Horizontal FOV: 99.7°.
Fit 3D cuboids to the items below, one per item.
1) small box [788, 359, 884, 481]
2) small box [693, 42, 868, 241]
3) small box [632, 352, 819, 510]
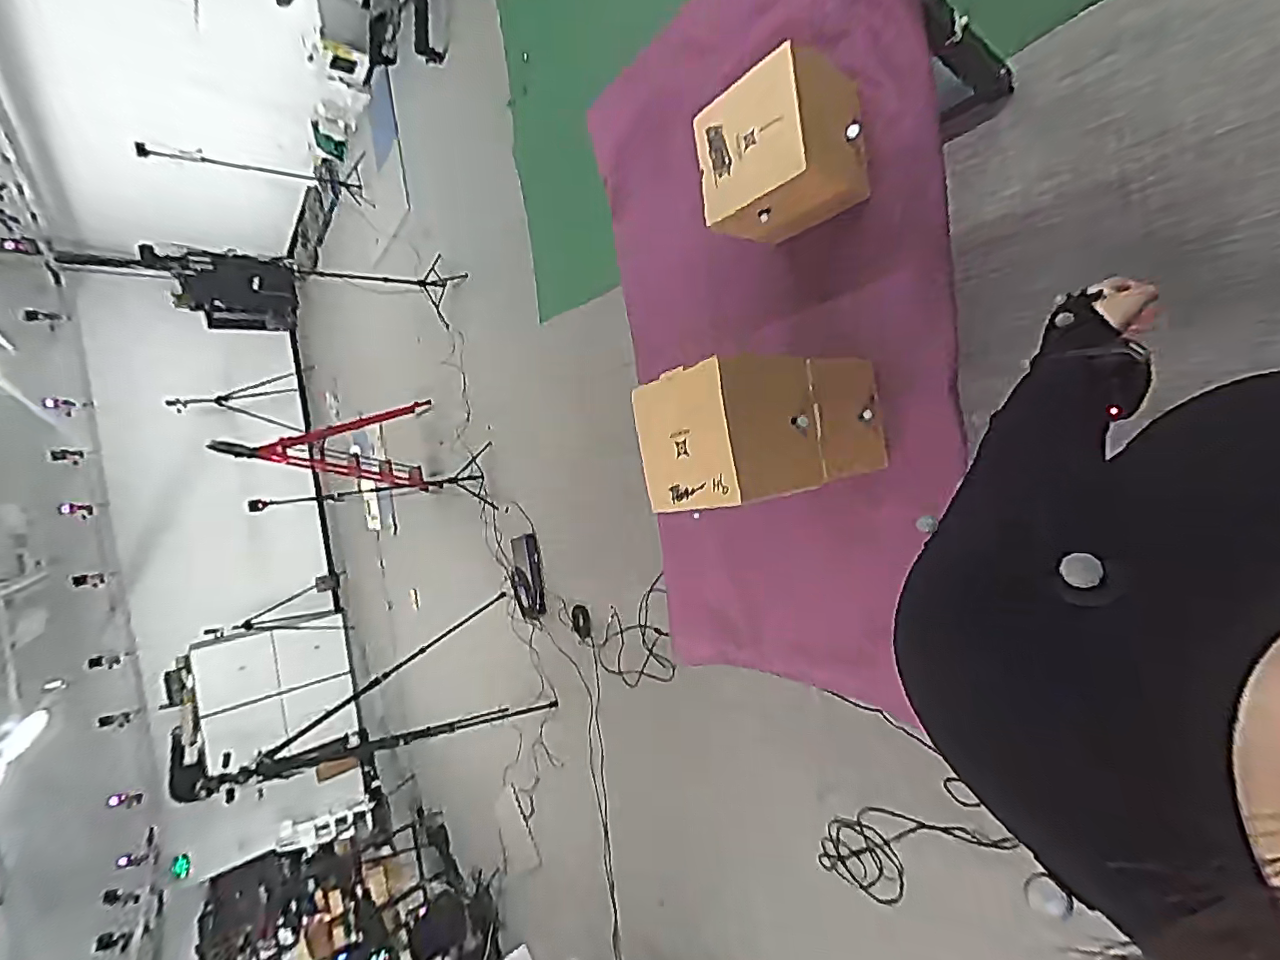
[{"bbox_3d":[0.239,-0.081,0.824,0.179,0.176,0.168,-9,91,52],"label":"small box"},{"bbox_3d":[0.205,-0.473,0.794,0.179,0.176,0.168,-7,92,51],"label":"small box"},{"bbox_3d":[0.113,-0.060,0.721,0.168,0.176,0.179,-10,89,53],"label":"small box"}]
